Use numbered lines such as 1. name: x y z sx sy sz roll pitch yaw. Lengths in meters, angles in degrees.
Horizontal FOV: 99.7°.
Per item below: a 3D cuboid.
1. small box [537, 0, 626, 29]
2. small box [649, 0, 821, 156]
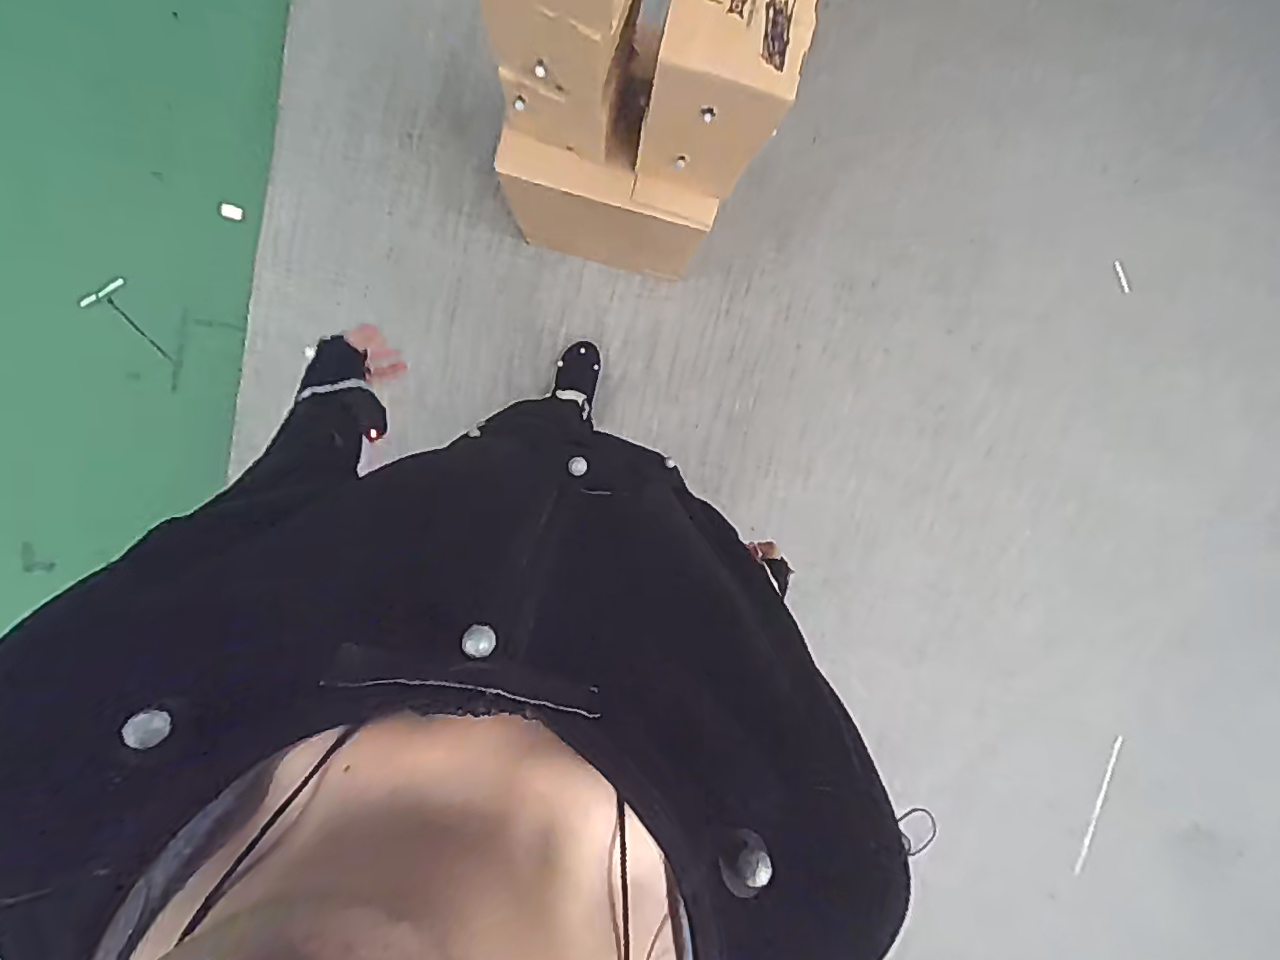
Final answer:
1. small box: -0.079 -0.614 0.542 0.179 0.176 0.168 18 96 -8
2. small box: 0.119 -0.570 0.726 0.179 0.176 0.168 13 97 -5
